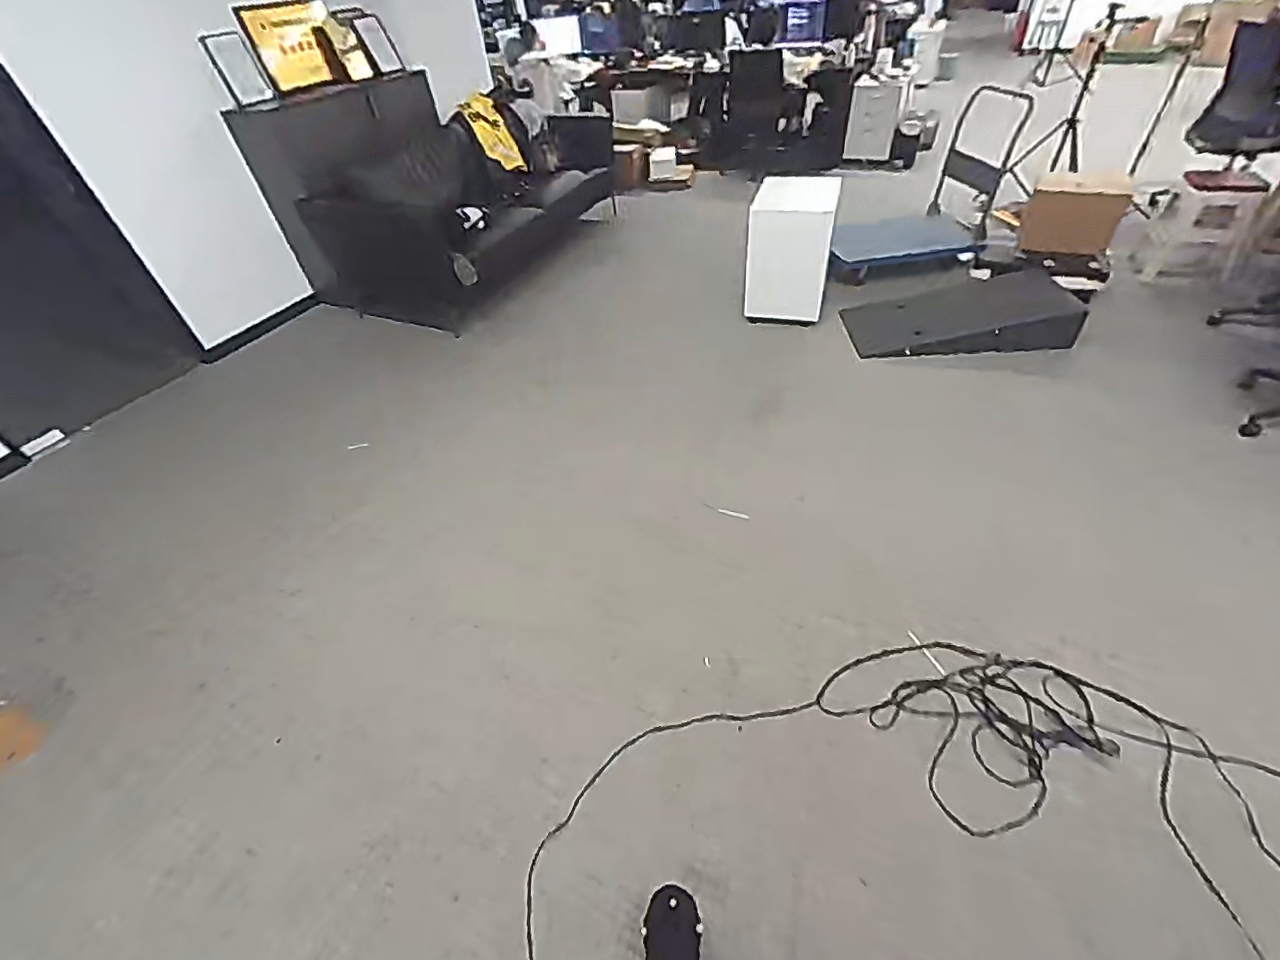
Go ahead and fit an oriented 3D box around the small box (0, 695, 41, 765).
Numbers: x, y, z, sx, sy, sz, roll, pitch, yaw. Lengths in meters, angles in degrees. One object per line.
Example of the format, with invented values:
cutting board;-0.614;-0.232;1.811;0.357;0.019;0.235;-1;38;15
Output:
small box;-1.863;0.702;1.510;0.179;0.176;0.168;20;50;23
